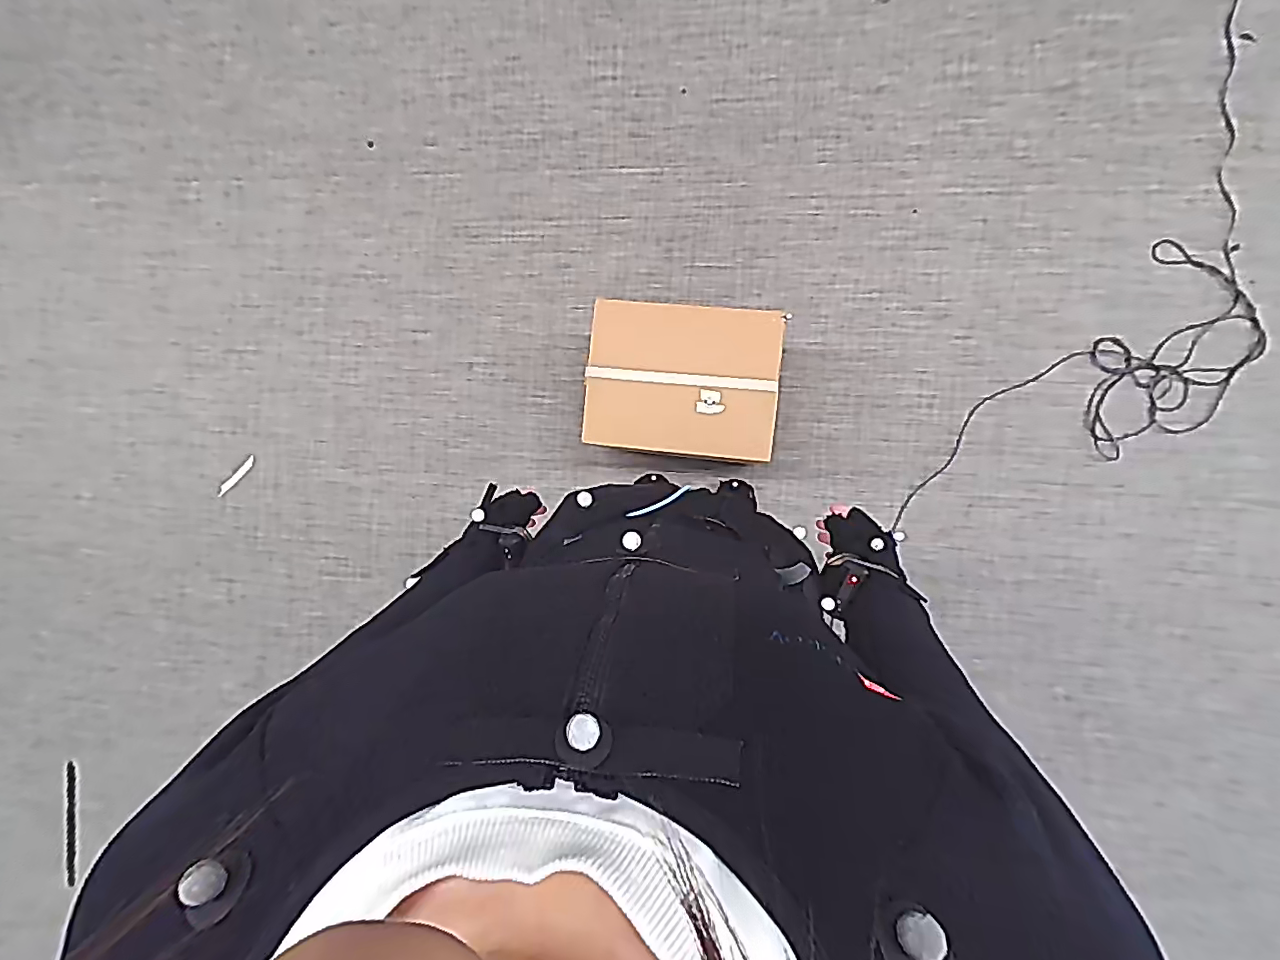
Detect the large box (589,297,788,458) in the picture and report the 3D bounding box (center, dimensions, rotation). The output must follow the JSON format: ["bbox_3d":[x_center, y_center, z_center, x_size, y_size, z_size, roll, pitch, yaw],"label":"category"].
[{"bbox_3d":[0.113,-0.225,1.290,0.408,0.320,0.320,6,92,6],"label":"large box"}]

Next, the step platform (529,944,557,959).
[{"bbox_3d":[-0.001,1.456,1.391,0.684,0.204,0.286,2,91,9],"label":"step platform"}]
